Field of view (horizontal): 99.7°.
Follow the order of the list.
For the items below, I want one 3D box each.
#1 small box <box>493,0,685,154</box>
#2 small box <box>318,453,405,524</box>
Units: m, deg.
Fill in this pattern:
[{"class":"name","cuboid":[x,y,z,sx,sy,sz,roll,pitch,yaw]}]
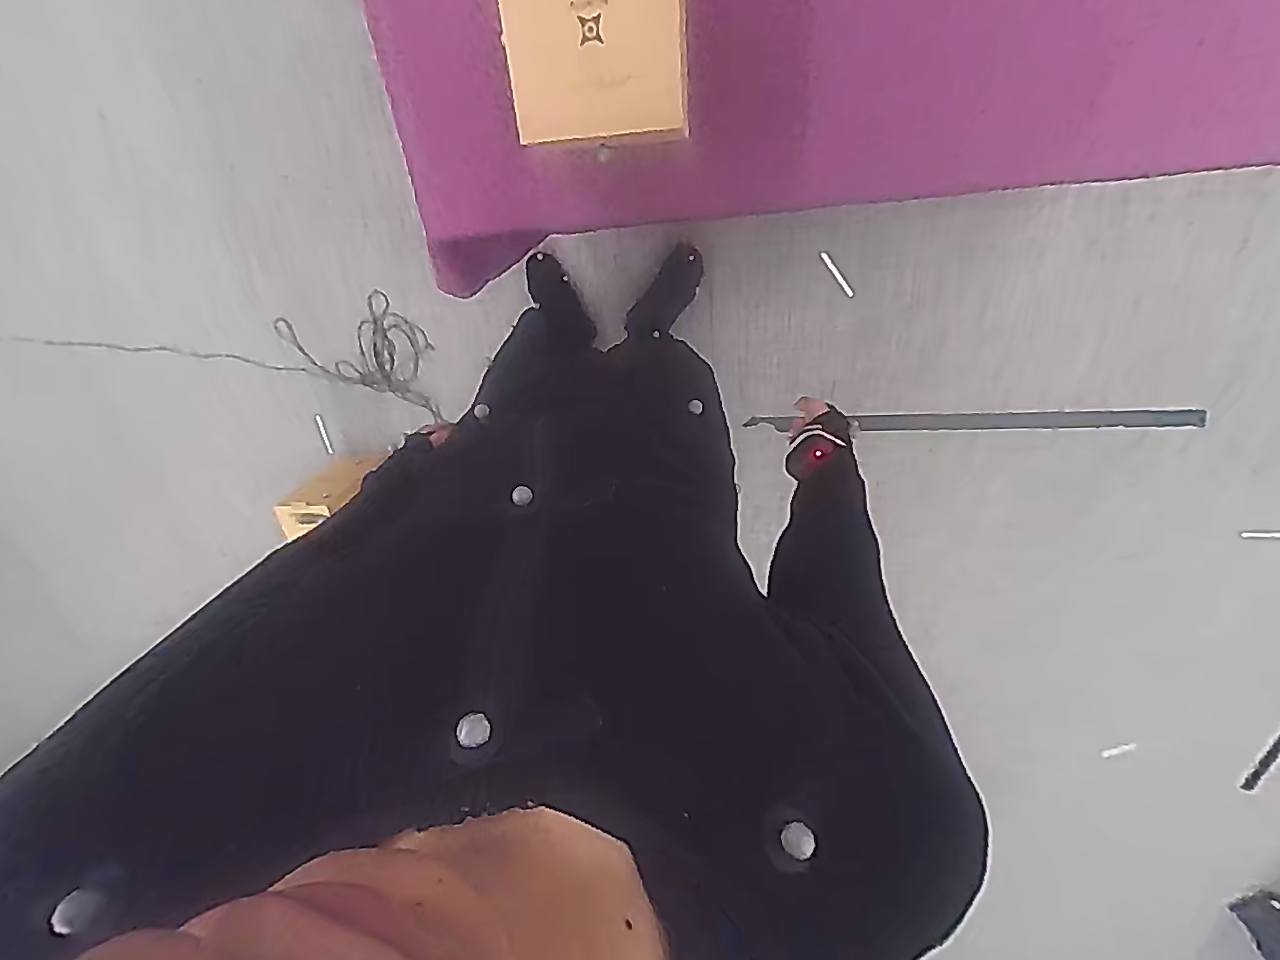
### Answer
[{"class":"small box","cuboid":[-0.041,-0.444,0.554,0.168,0.176,0.179,0,119,8]},{"class":"small box","cuboid":[-0.902,0.026,1.774,0.168,0.176,0.179,-2,119,9]}]
